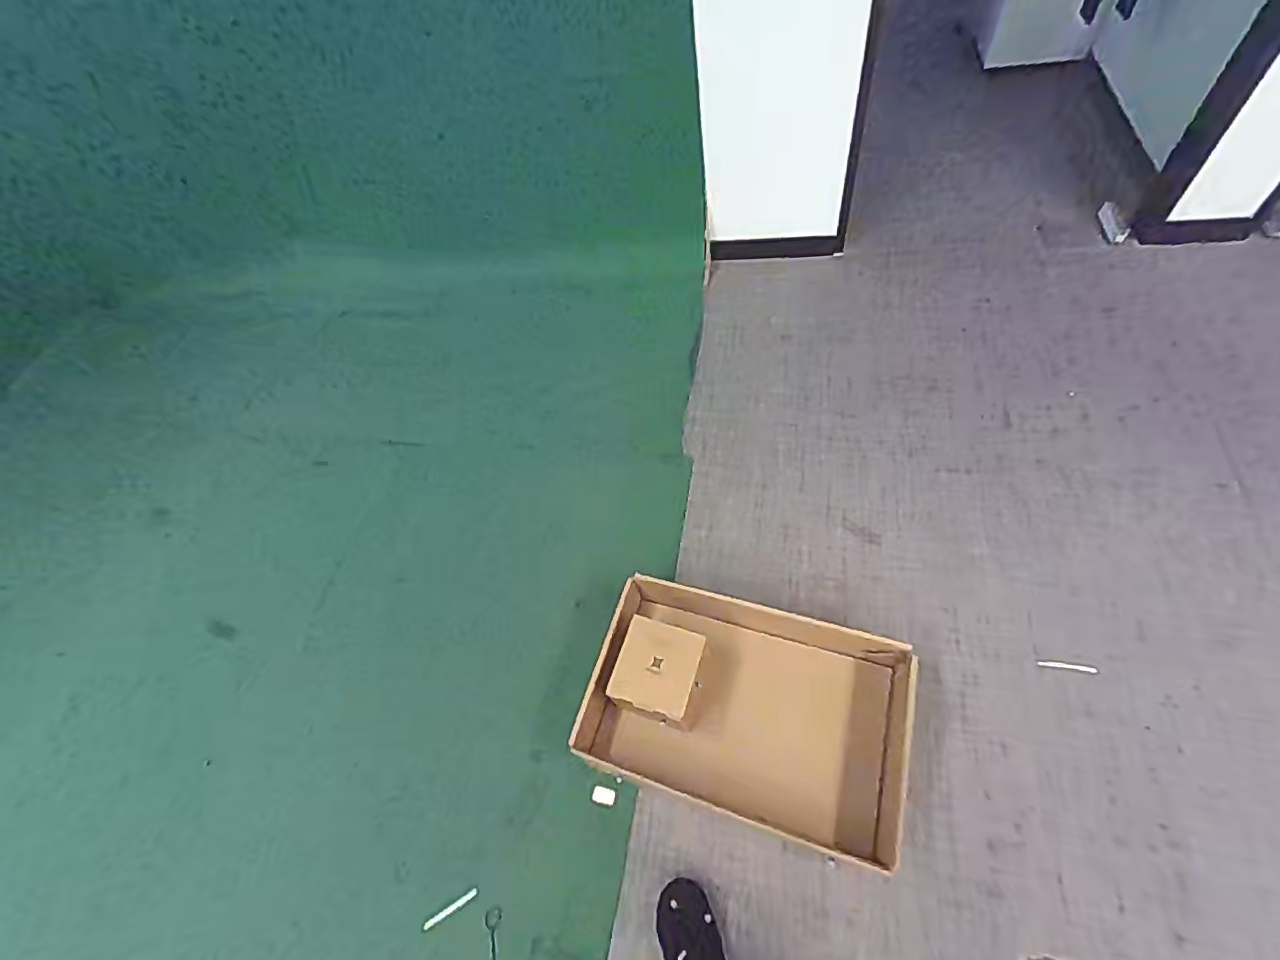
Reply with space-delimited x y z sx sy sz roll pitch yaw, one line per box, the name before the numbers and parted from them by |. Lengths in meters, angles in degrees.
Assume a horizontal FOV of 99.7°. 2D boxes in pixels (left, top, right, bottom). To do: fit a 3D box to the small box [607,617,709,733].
small box | 0.049 0.426 1.167 0.168 0.176 0.179 14 61 17
